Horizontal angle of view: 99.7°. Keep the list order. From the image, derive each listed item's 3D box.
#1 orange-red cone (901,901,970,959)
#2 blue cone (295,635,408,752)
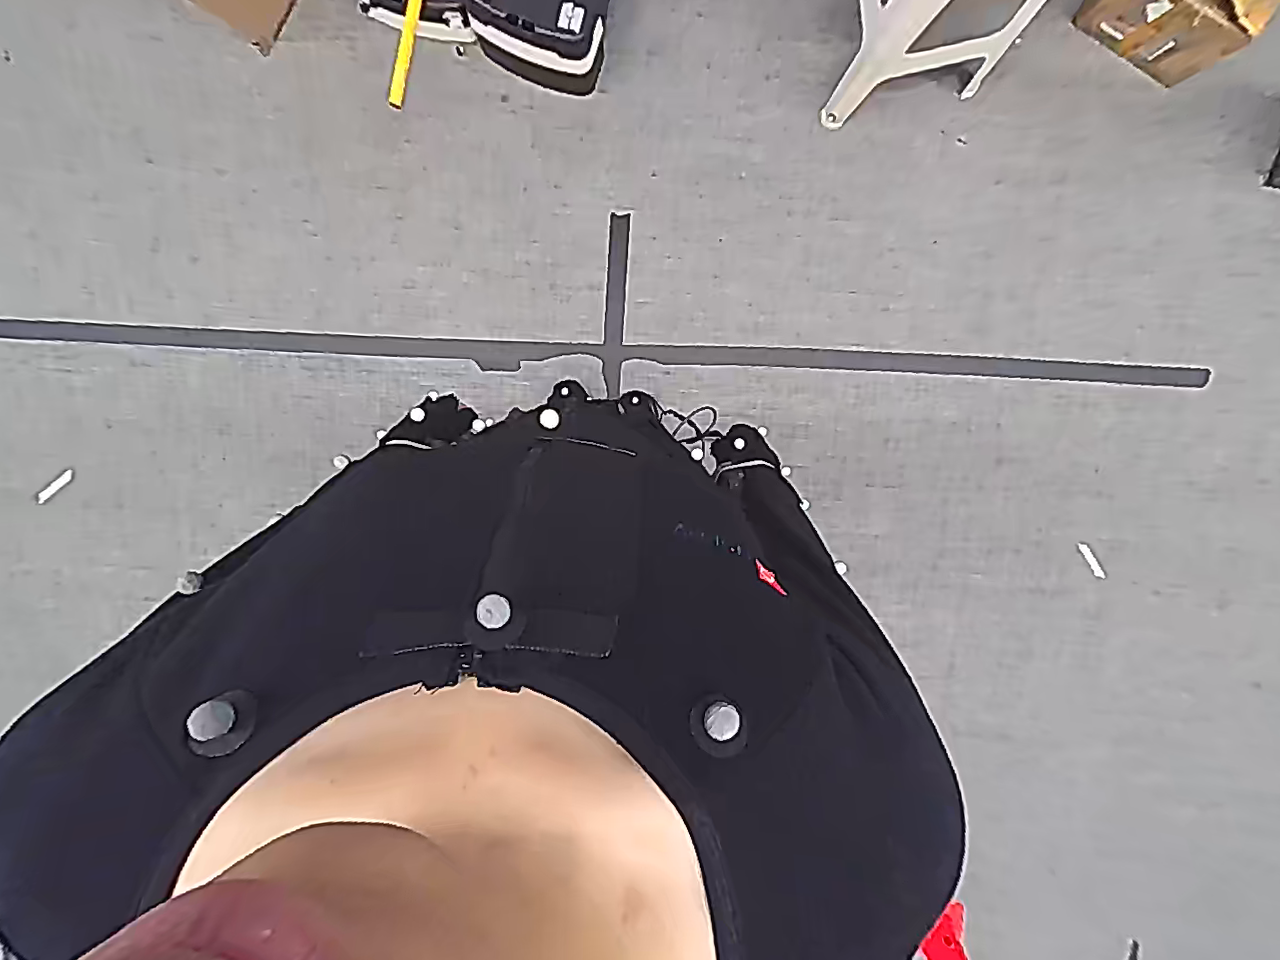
[{"bbox_3d":[0.950,1.476,1.581,0.198,0.360,0.199,-1,99,-1],"label":"orange-red cone"},{"bbox_3d":[-0.777,0.571,1.407,0.192,0.380,0.193,-2,100,0],"label":"blue cone"}]
